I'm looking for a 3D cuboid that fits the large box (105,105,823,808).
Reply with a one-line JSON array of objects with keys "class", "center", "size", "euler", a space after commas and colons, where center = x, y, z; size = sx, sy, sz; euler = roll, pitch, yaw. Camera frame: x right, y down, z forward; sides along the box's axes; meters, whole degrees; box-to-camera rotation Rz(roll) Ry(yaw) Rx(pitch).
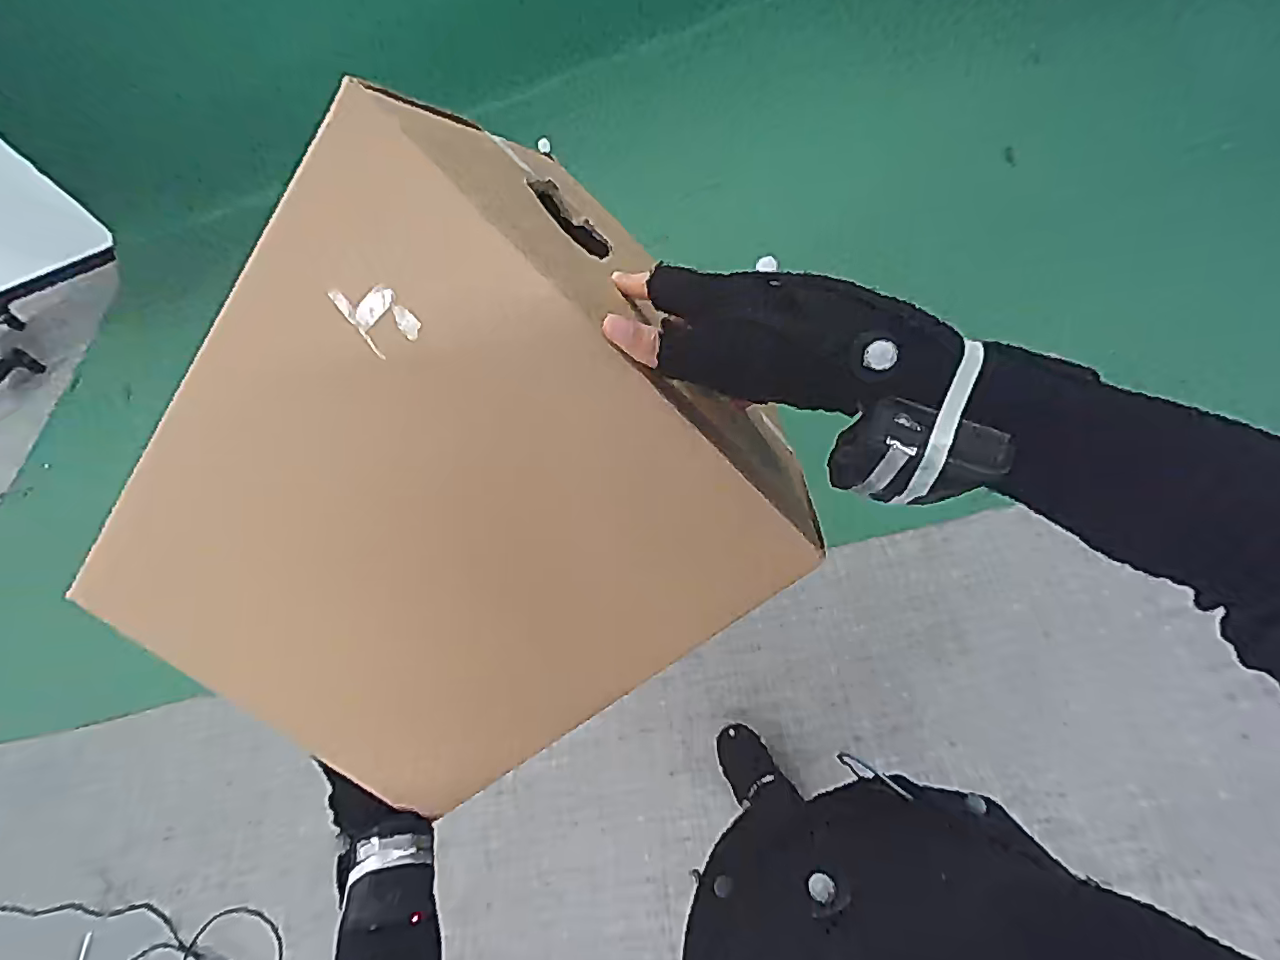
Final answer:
[{"class": "large box", "center": [-0.118, -0.005, 0.477], "size": [0.408, 0.320, 0.320], "euler": [-41, 14, 22]}]
